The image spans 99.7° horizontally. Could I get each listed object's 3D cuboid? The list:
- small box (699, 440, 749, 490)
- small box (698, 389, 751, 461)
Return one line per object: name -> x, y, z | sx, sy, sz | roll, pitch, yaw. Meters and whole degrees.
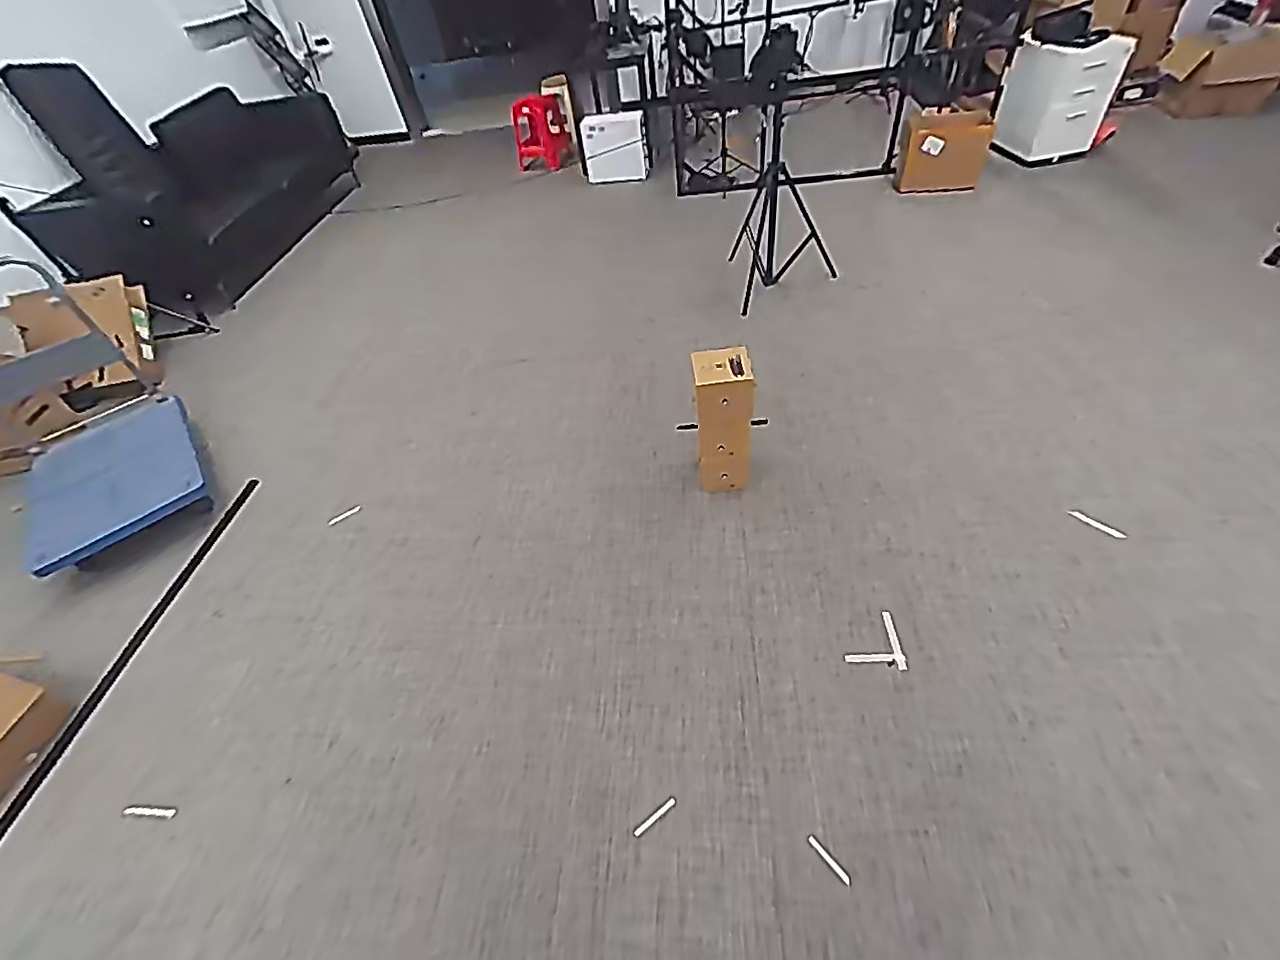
small box -> 0.303, -0.076, 1.952 | 0.168, 0.176, 0.179 | -5, 46, 5
small box -> 0.283, -0.187, 1.834 | 0.168, 0.176, 0.179 | -5, 48, 6
